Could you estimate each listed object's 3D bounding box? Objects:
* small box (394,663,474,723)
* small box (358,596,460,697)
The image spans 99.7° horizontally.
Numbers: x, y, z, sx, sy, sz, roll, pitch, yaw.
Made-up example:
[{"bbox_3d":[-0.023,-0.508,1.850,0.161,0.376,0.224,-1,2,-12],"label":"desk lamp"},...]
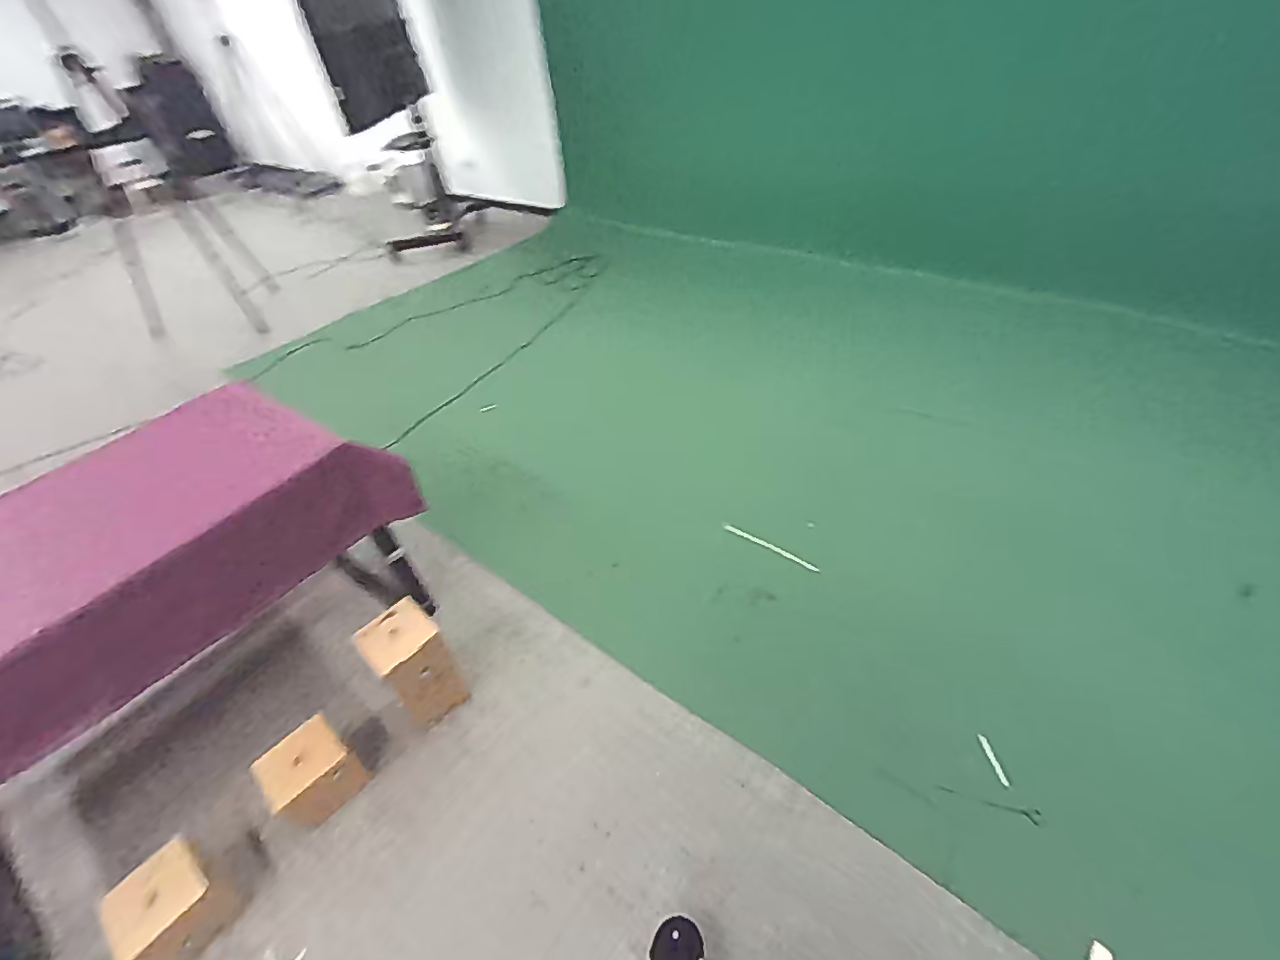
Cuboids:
[{"bbox_3d":[-0.610,0.576,1.572,0.168,0.176,0.179,-34,48,-27],"label":"small box"},{"bbox_3d":[-0.616,0.455,1.459,0.179,0.176,0.168,31,54,33],"label":"small box"}]
